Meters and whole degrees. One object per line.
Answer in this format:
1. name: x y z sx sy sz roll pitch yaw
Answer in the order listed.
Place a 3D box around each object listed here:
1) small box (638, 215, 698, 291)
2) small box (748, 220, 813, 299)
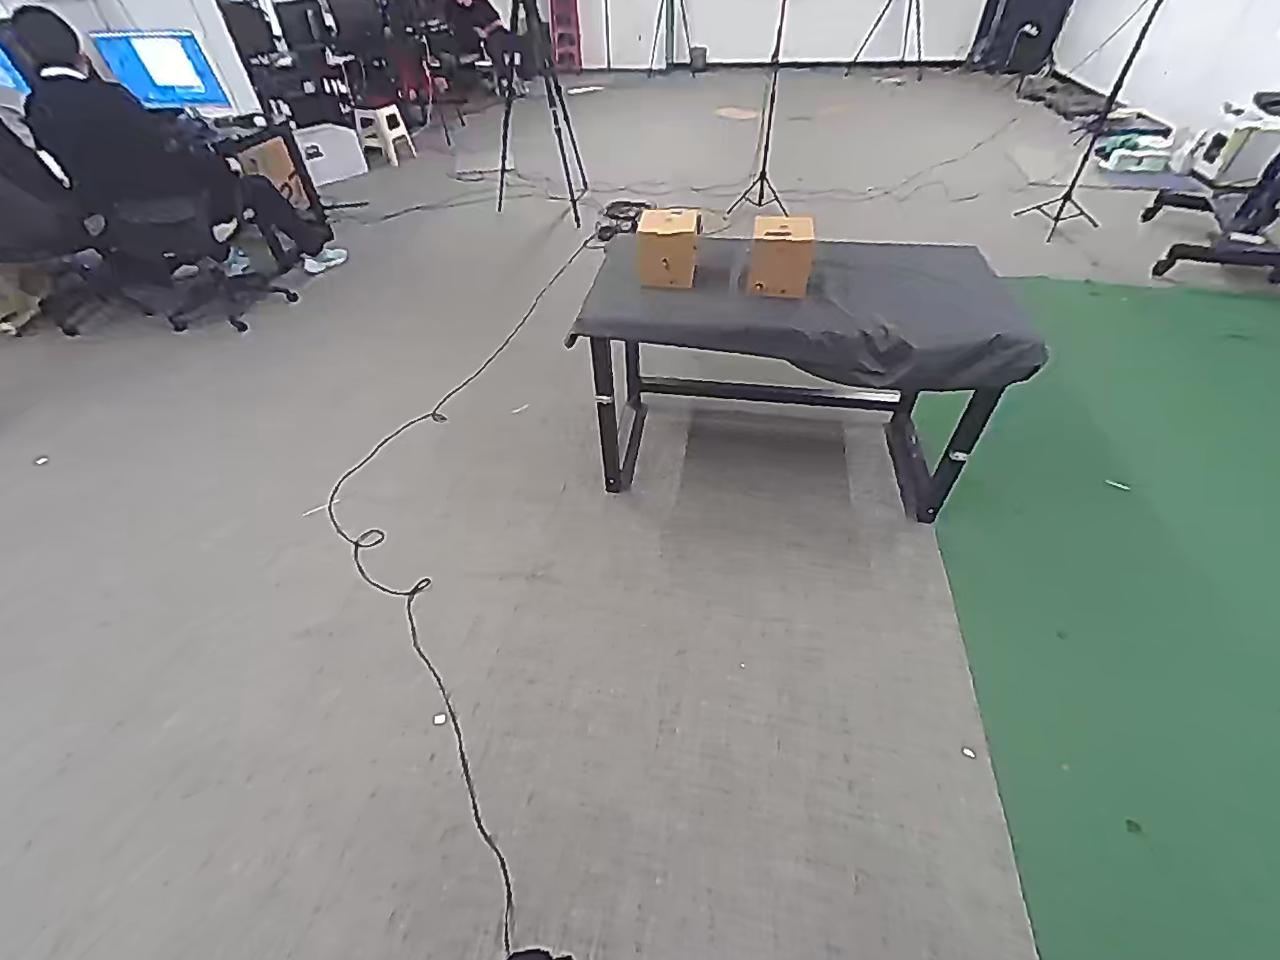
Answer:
1. small box: 0.090 -0.692 1.651 0.168 0.176 0.179 4 46 7
2. small box: 0.411 -0.646 1.586 0.168 0.176 0.179 6 44 10
